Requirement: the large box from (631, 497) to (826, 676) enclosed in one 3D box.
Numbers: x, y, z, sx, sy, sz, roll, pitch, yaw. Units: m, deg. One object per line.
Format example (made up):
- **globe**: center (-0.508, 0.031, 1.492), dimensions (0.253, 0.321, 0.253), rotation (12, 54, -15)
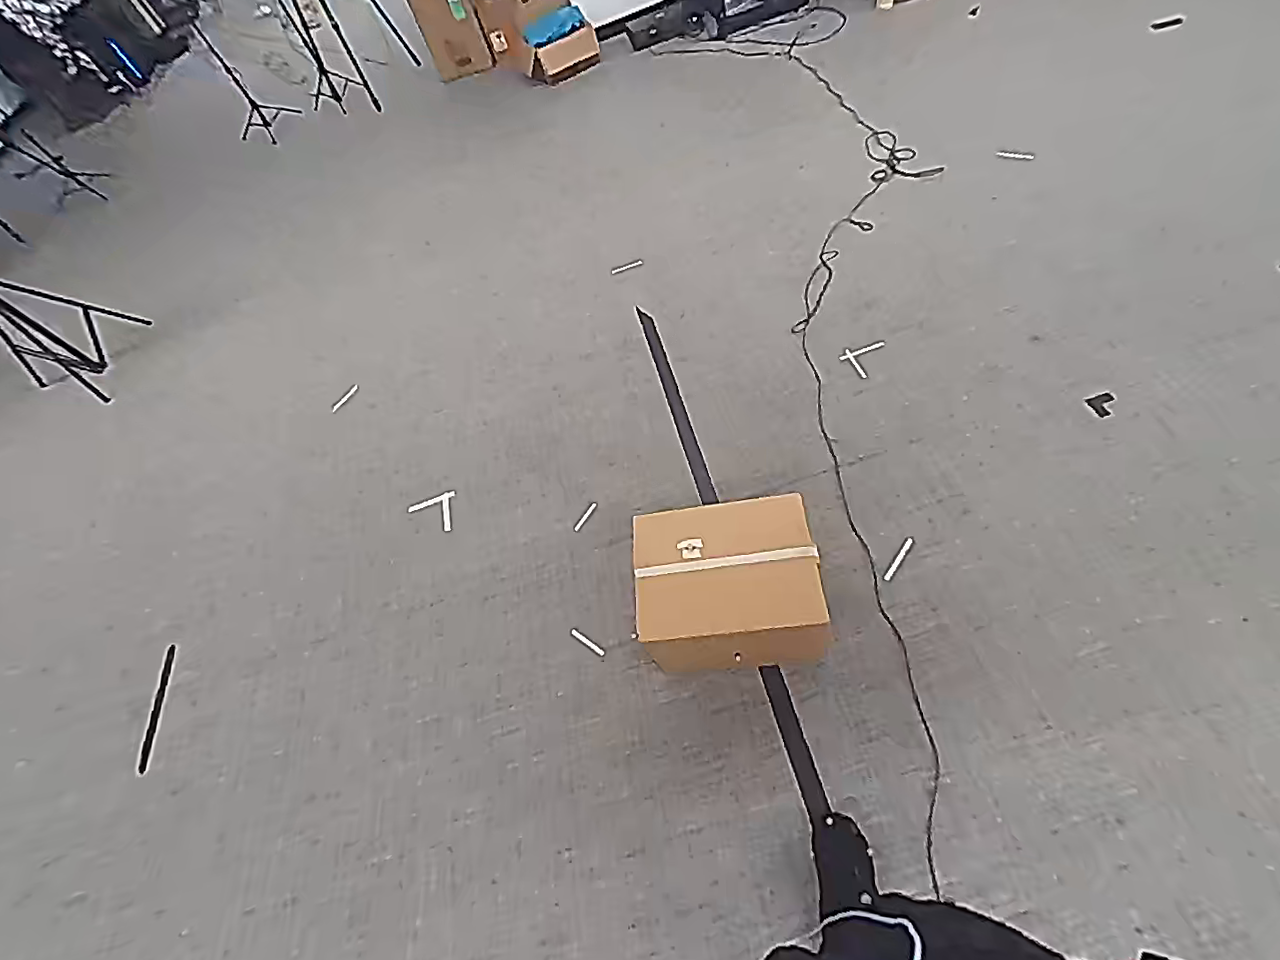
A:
- **large box**: center (0.215, 0.275, 1.326), dimensions (0.408, 0.320, 0.320), rotation (-10, 55, 11)
